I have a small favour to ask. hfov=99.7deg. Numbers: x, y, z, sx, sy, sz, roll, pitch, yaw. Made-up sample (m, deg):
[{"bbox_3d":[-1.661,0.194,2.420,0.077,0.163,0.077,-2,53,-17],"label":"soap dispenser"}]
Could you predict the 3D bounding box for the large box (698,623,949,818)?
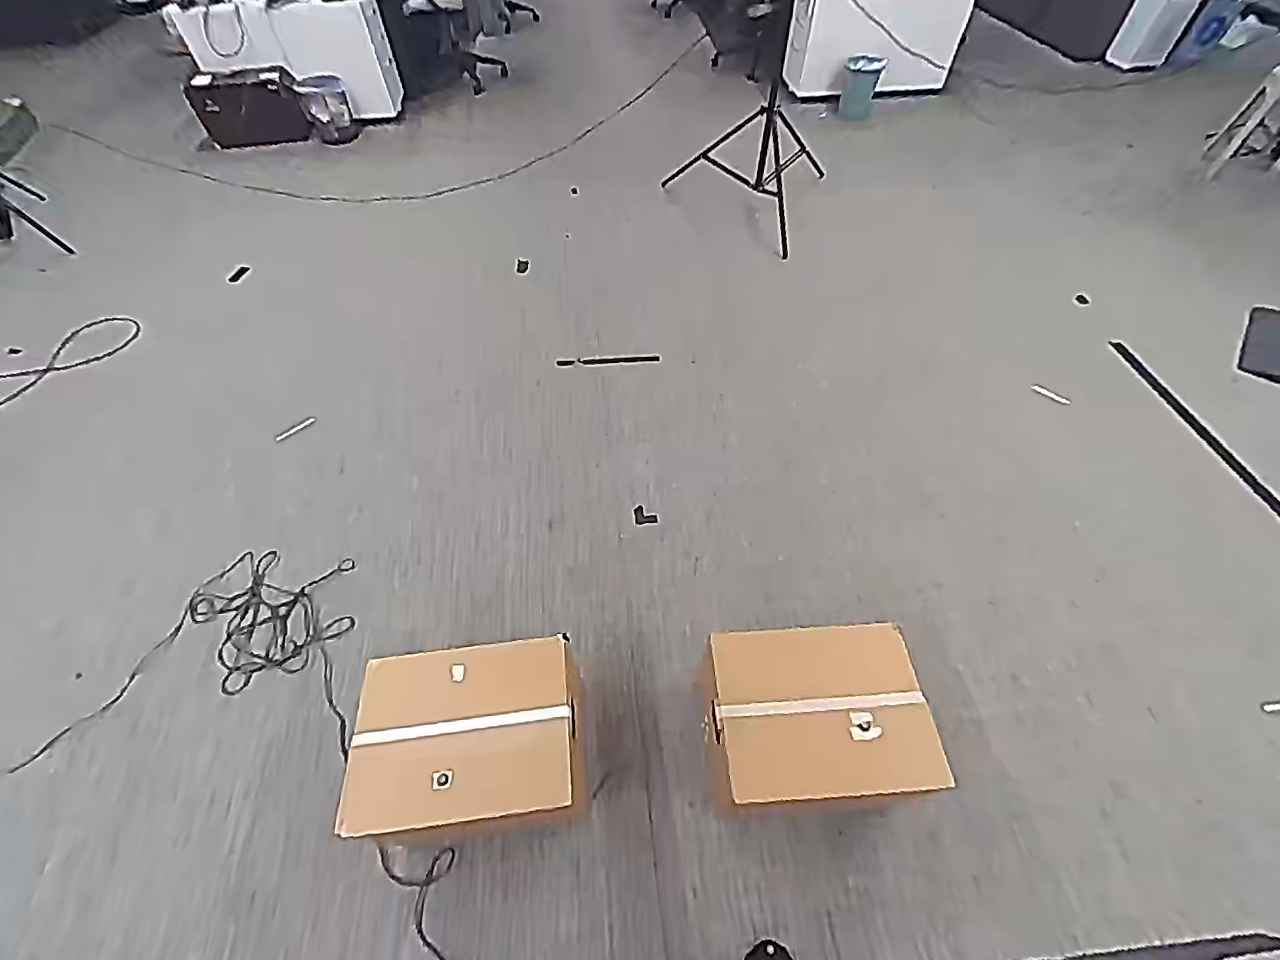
[{"bbox_3d":[0.357,0.530,1.183,0.408,0.320,0.320,-2,53,-2],"label":"large box"}]
